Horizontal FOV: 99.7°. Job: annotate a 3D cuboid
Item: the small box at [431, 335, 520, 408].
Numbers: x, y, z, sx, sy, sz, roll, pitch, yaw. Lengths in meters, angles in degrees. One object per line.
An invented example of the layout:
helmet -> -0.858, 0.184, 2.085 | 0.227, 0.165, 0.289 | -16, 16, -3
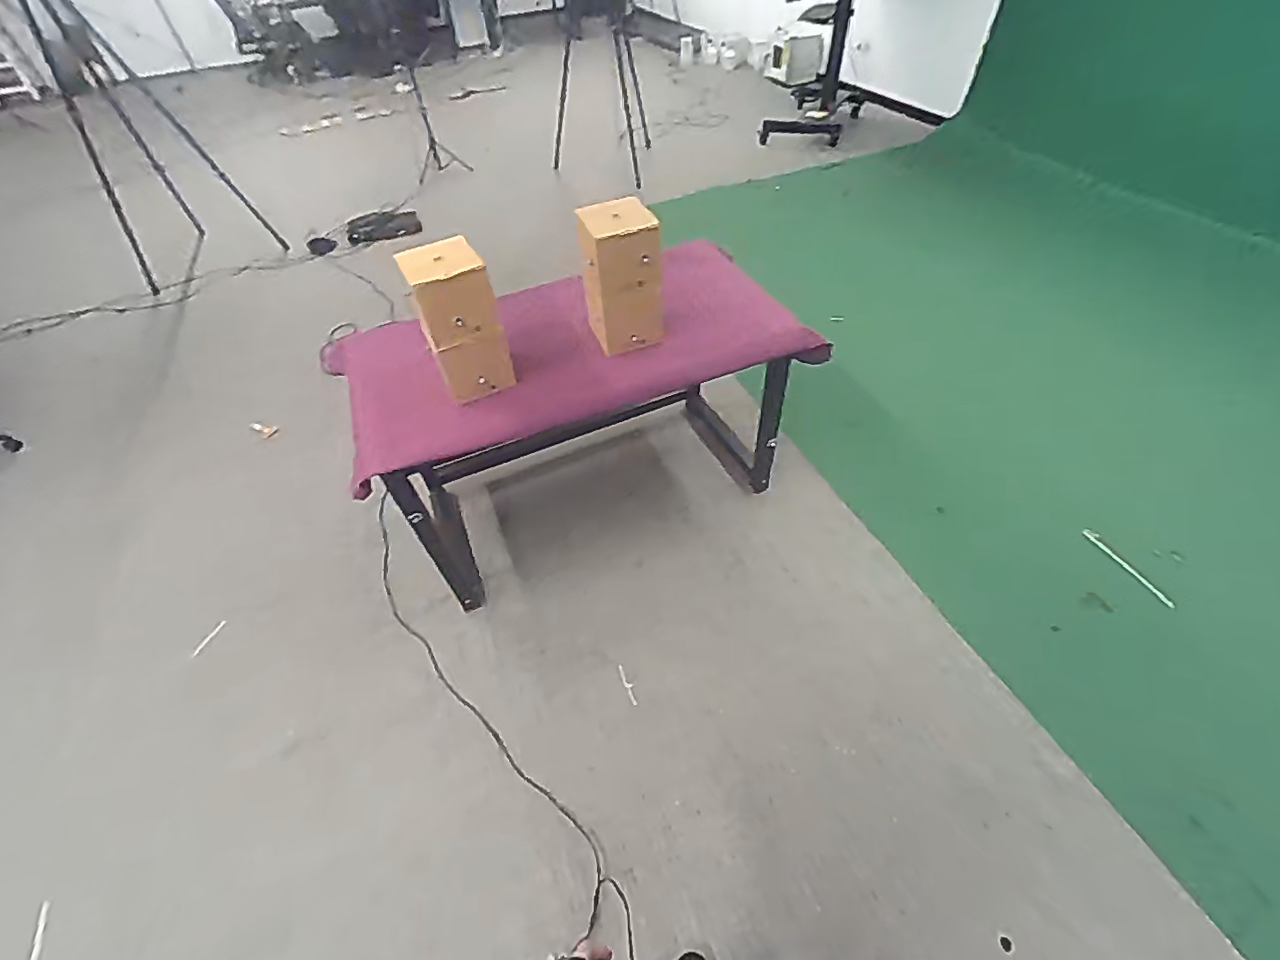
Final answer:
small box -> -0.429, -0.317, 1.403 | 0.168, 0.176, 0.179 | -24, 51, -15

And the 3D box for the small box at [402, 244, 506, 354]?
small box -> -0.439, -0.428, 1.284 | 0.168, 0.176, 0.179 | -25, 52, -17

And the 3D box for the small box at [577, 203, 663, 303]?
small box -> -0.046, -0.569, 1.372 | 0.168, 0.176, 0.179 | -18, 50, -11
